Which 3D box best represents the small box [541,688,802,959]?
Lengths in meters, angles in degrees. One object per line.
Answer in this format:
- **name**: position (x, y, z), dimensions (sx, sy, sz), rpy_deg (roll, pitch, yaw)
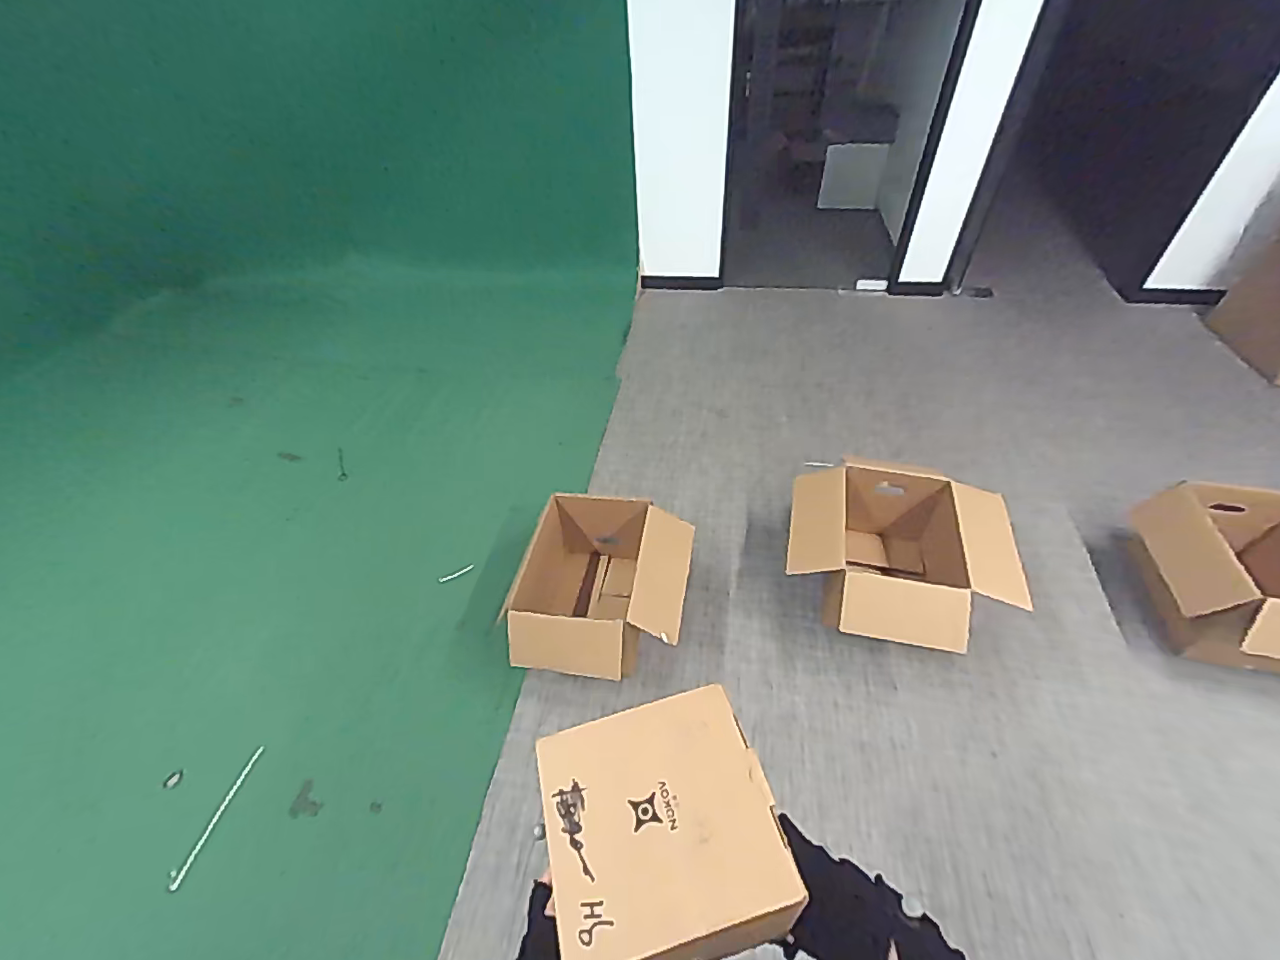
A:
- **small box**: position (0.020, 0.319, 0.482), dimensions (0.179, 0.176, 0.168), rpy_deg (-13, 42, -7)
